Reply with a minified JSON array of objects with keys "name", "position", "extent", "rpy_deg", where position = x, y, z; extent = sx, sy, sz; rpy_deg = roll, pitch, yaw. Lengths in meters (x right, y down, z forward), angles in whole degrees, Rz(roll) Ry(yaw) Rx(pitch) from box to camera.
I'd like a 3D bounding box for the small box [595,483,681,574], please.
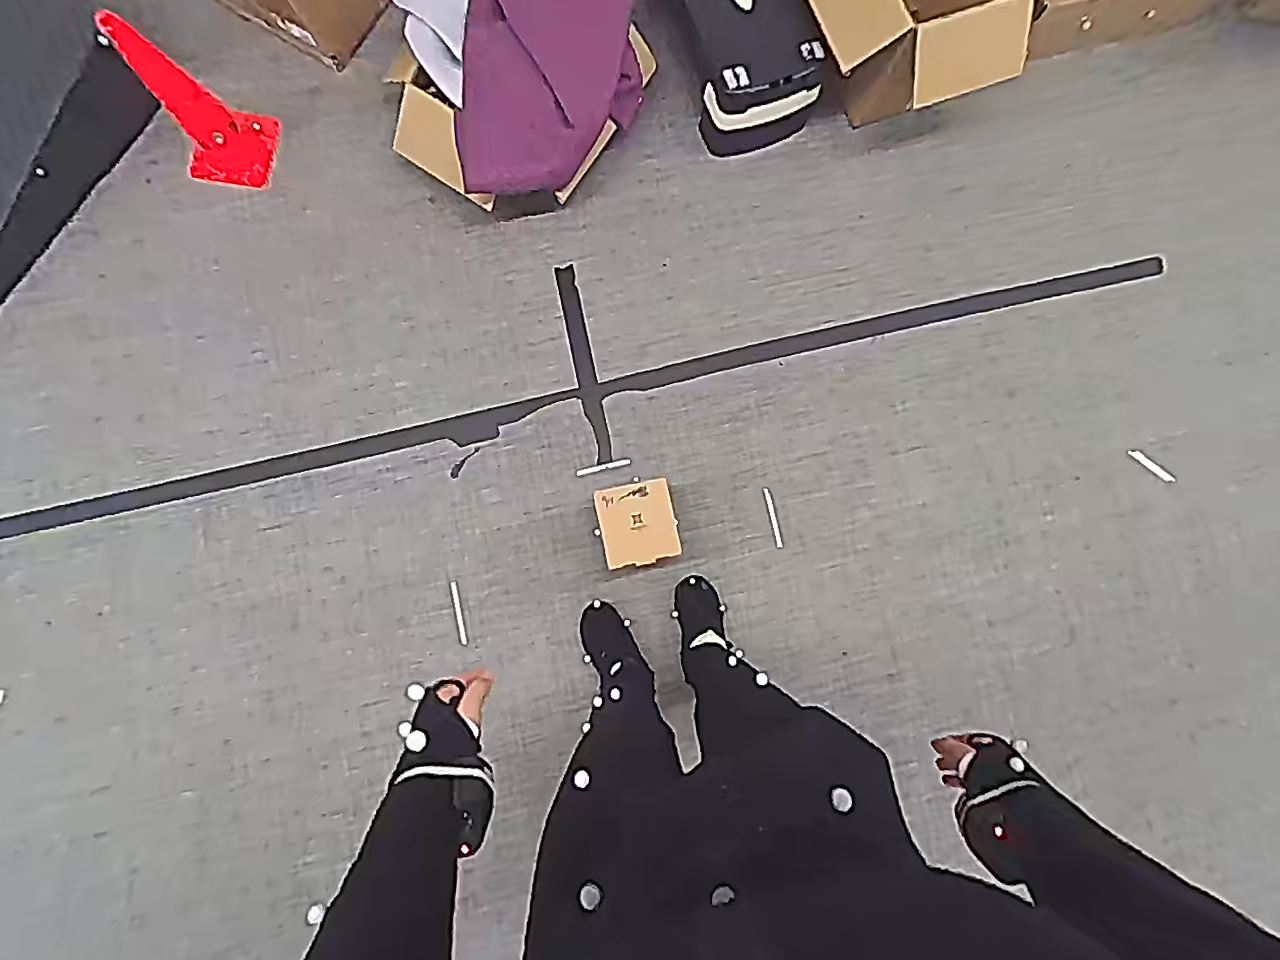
[{"name":"small box","position":[-0.006,0.111,1.253],"extent":[0.168,0.176,0.179],"rpy_deg":[-11,85,-3]}]
